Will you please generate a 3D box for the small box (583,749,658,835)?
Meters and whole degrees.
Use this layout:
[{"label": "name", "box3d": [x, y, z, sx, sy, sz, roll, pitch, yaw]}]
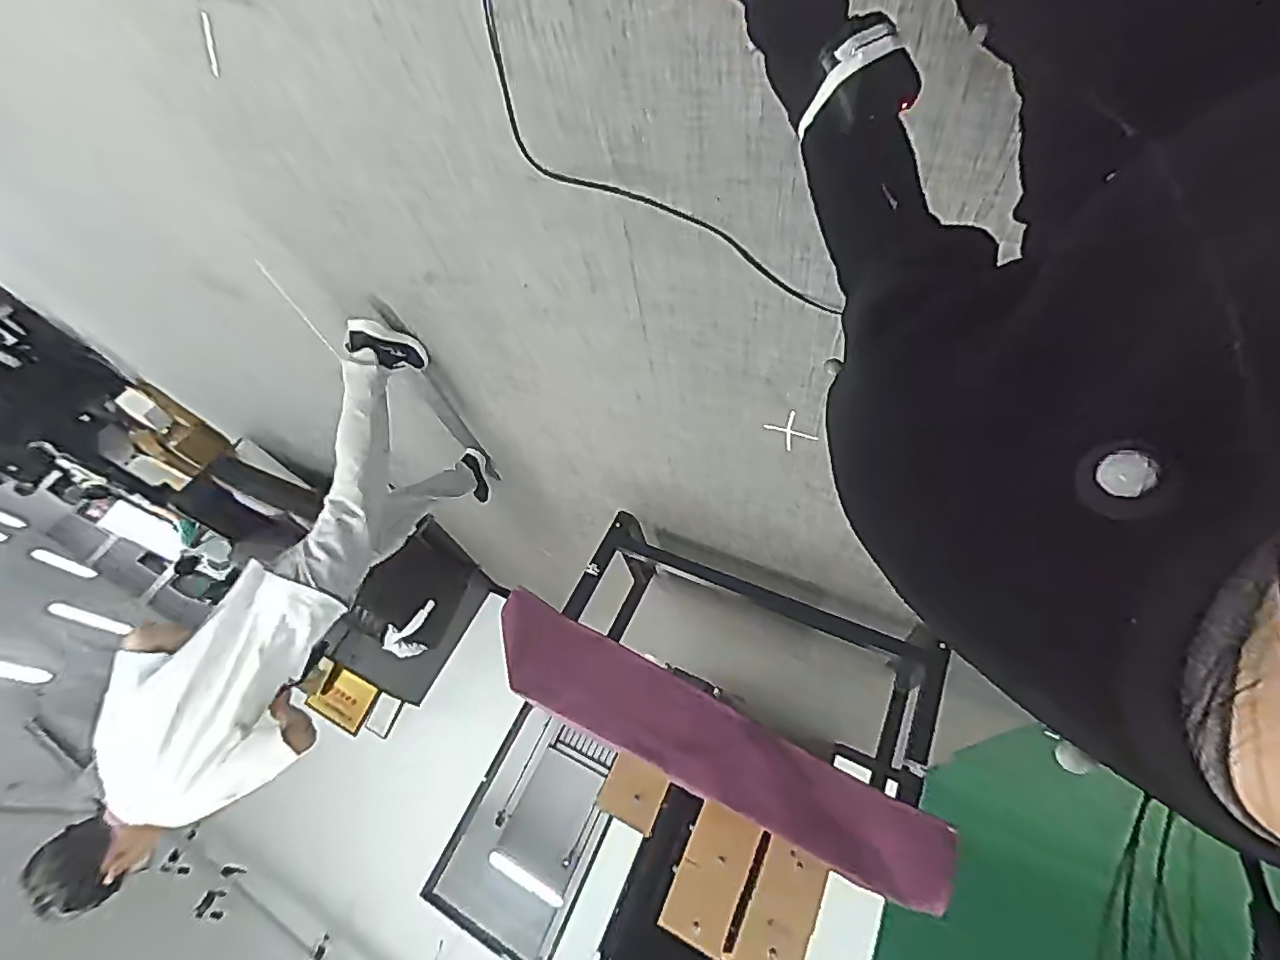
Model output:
[{"label": "small box", "box3d": [-0.054, 0.947, 1.652, 0.179, 0.176, 0.168, 21, 153, 13]}]
